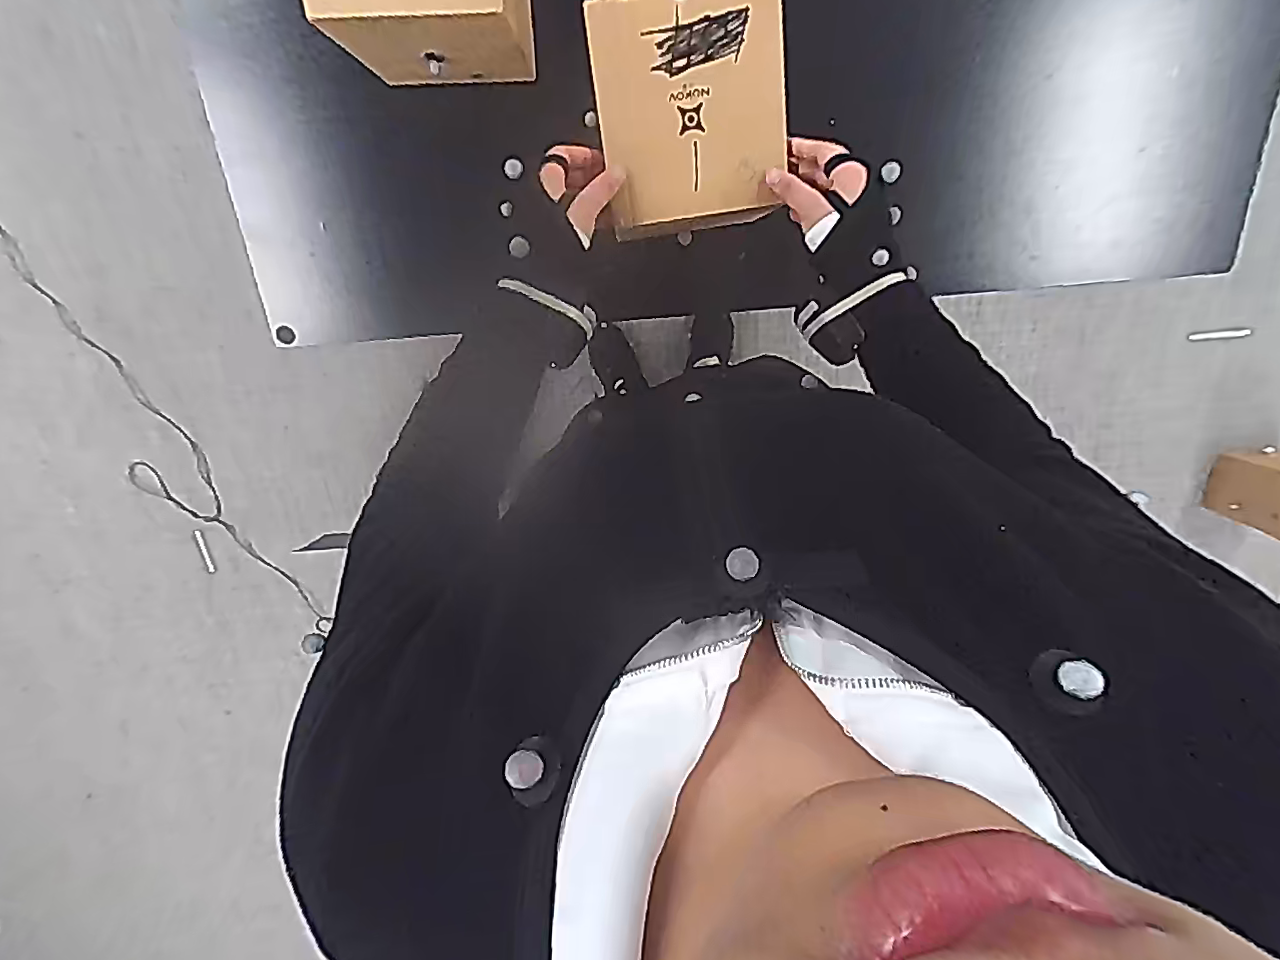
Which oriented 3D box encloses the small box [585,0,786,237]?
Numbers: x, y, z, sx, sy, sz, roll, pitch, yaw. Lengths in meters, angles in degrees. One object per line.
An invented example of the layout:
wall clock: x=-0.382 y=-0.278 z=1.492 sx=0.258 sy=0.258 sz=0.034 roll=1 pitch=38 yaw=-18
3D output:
small box: x=0.043 y=-0.357 z=0.548 sx=0.168 sy=0.176 sz=0.179 roll=-8 pitch=110 yaw=3

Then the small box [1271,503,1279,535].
small box: x=1.732 y=0.080 z=1.314 sx=0.179 sy=0.176 sz=0.168 roll=-7 pitch=111 yaw=1

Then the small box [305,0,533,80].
small box: x=-0.199 y=-0.494 z=0.497 sx=0.168 sy=0.176 sz=0.179 roll=-2 pitch=110 yaw=0

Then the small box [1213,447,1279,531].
small box: x=1.733 y=0.021 z=1.467 sx=0.168 sy=0.176 sz=0.179 roll=-5 pitch=110 yaw=1
